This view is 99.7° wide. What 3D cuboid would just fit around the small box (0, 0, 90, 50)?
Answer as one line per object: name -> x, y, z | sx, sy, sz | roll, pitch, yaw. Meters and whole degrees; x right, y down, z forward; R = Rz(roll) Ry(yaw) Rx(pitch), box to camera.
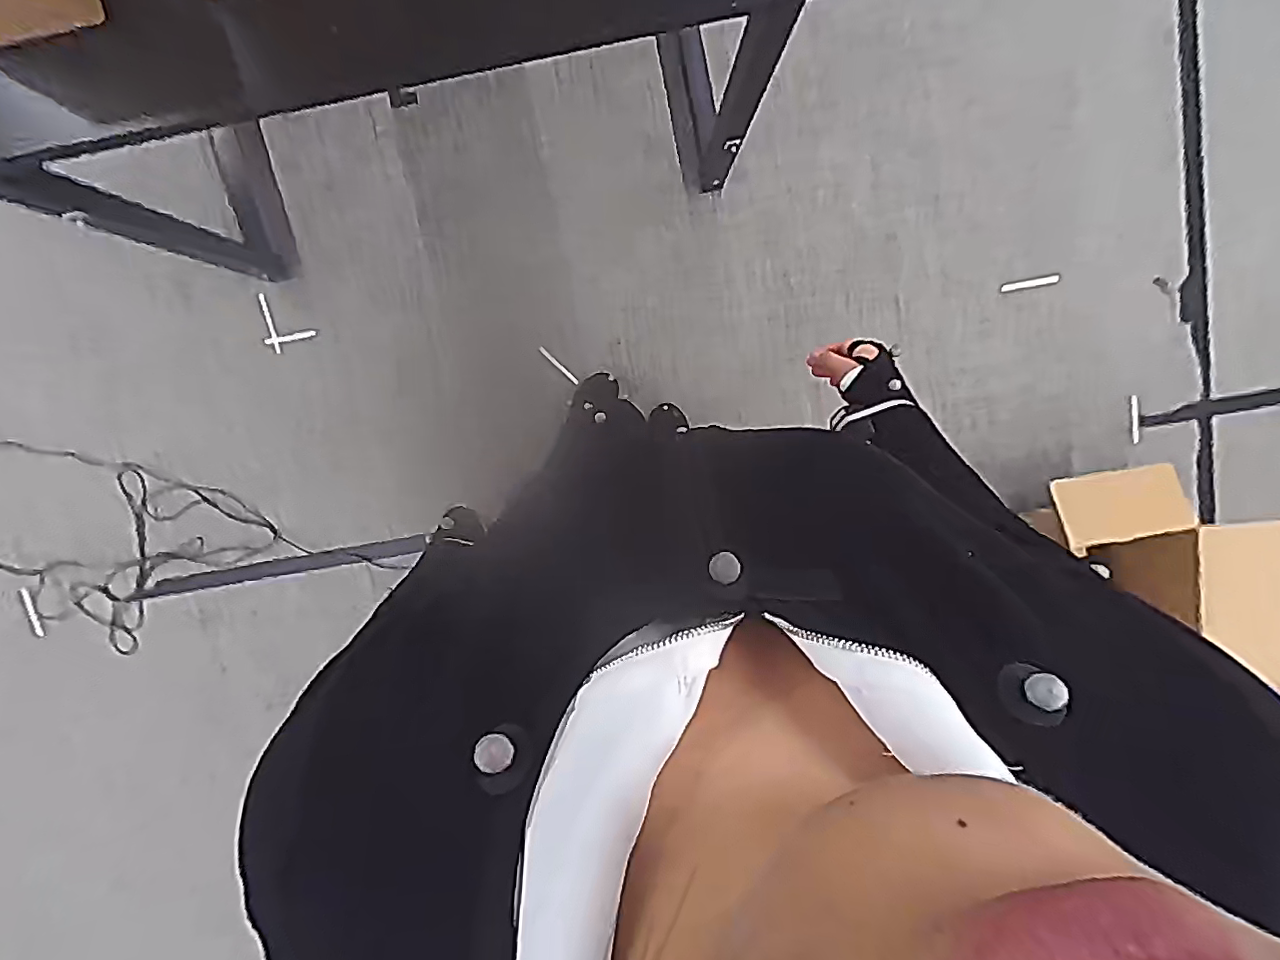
small box -> -0.744, -0.597, 0.564 | 0.179, 0.176, 0.168 | -14, 98, 1
